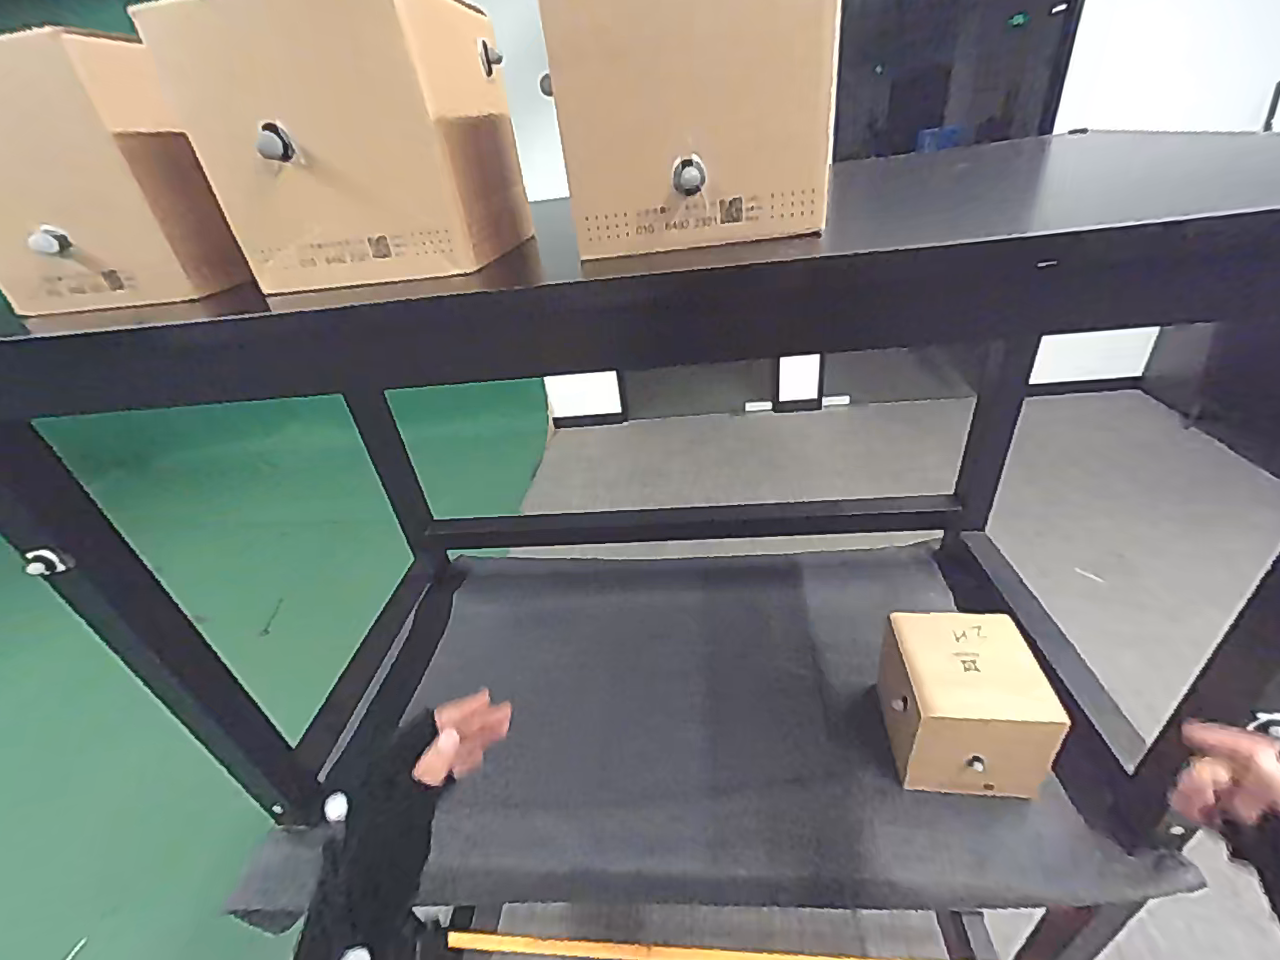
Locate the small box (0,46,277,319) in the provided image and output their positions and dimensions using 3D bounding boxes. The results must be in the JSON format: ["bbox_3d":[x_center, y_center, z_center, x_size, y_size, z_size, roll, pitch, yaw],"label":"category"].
[{"bbox_3d":[-0.424,-0.247,0.465,0.168,0.176,0.179,-3,33,8],"label":"small box"}]

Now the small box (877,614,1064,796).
[{"bbox_3d":[0.444,0.312,0.760,0.168,0.176,0.179,-1,32,11],"label":"small box"}]

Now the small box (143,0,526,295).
[{"bbox_3d":[-0.202,-0.249,0.424,0.168,0.176,0.179,-3,32,9],"label":"small box"}]
